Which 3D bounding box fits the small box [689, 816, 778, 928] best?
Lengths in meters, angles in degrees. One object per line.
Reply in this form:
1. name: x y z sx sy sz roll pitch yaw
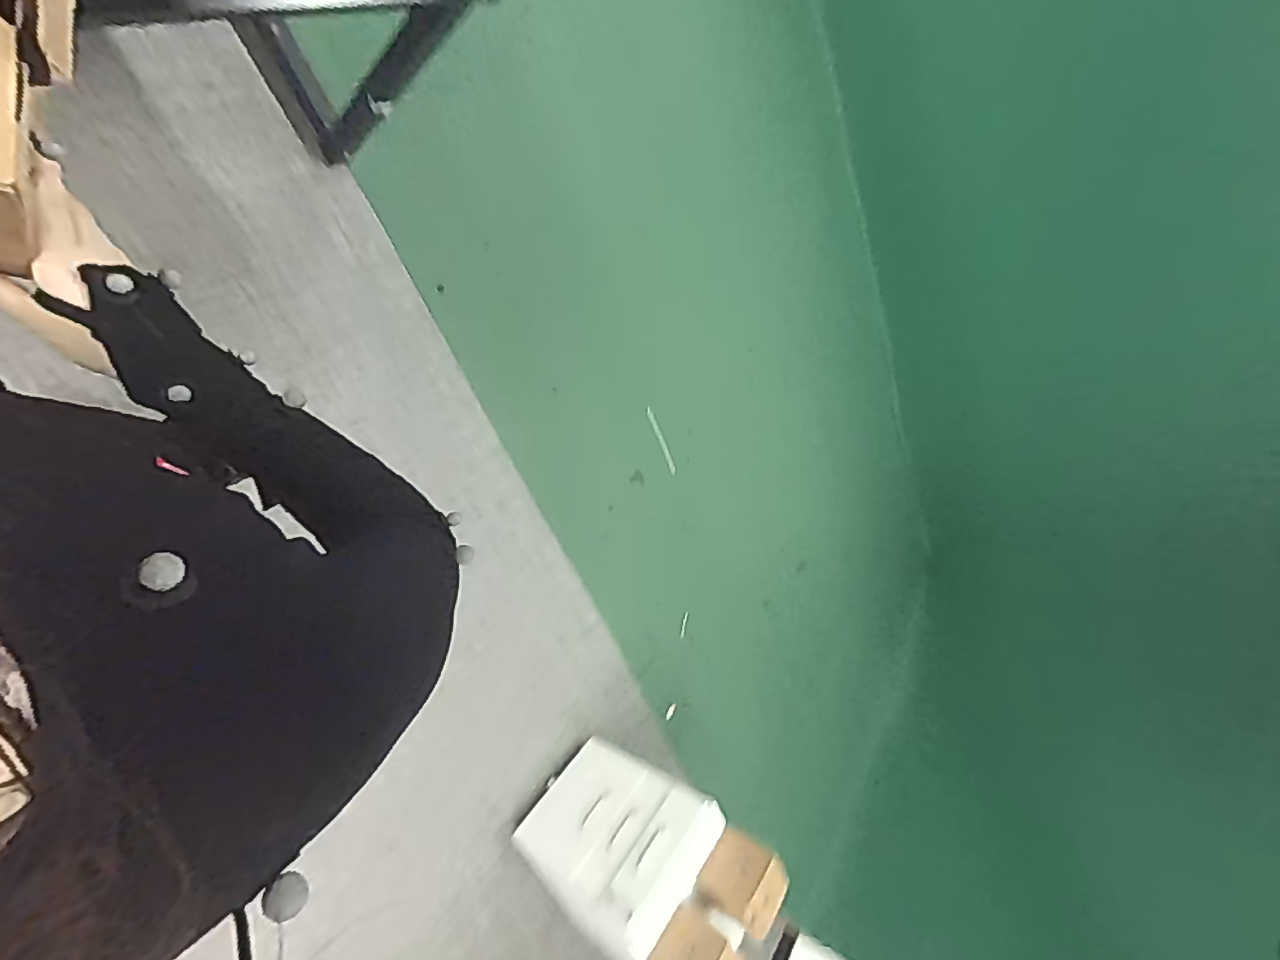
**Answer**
1. small box: 0.271 1.128 1.572 0.179 0.176 0.168 -41 119 -36
